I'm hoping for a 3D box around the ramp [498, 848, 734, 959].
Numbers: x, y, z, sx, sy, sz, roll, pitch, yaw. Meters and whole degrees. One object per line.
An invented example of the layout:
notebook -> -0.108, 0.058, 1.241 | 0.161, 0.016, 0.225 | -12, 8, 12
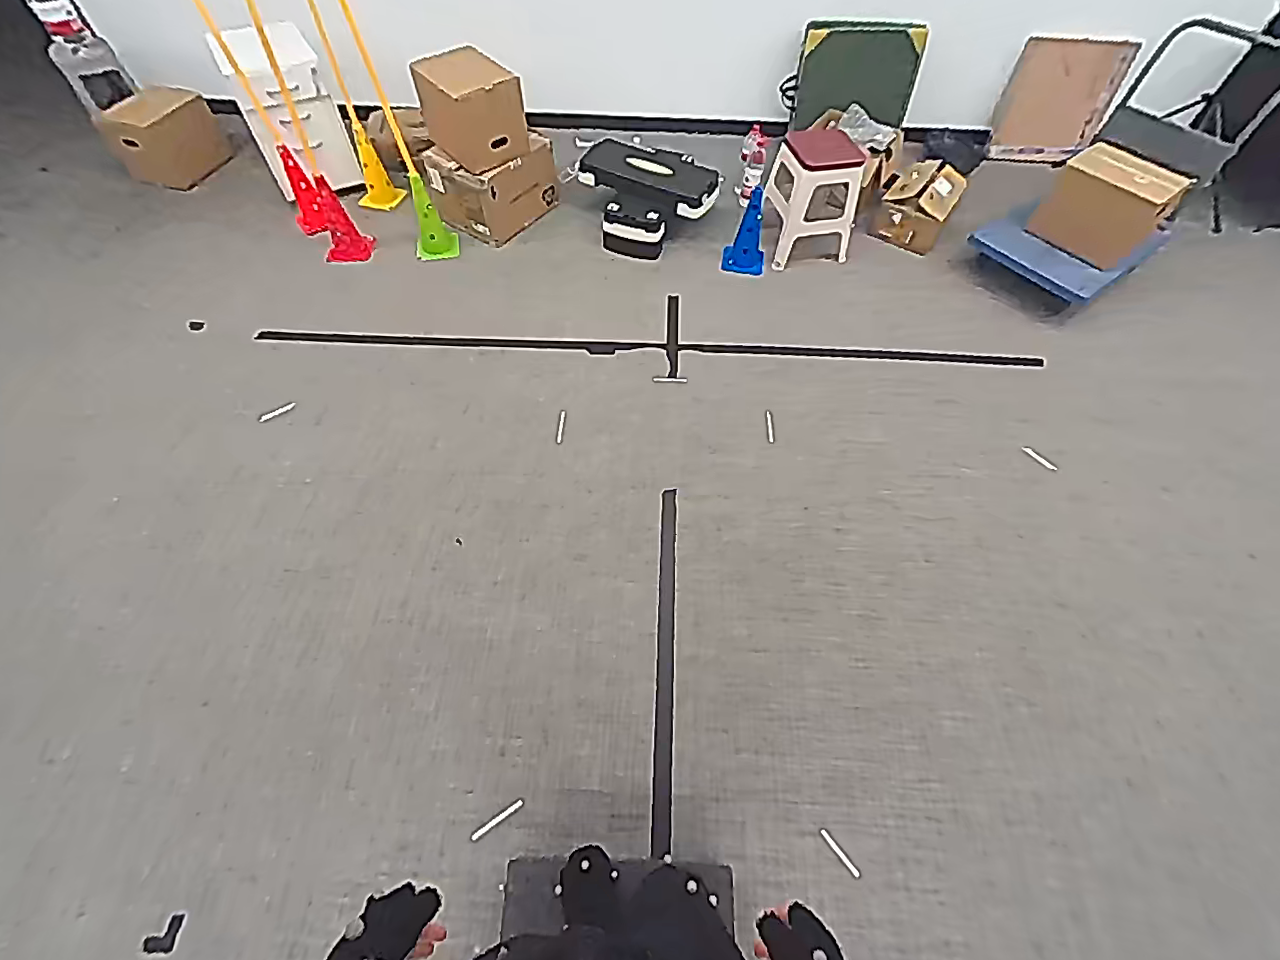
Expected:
ramp -> -0.058, 1.273, 0.993 | 0.509, 0.206, 0.991 | 1, 57, -2
